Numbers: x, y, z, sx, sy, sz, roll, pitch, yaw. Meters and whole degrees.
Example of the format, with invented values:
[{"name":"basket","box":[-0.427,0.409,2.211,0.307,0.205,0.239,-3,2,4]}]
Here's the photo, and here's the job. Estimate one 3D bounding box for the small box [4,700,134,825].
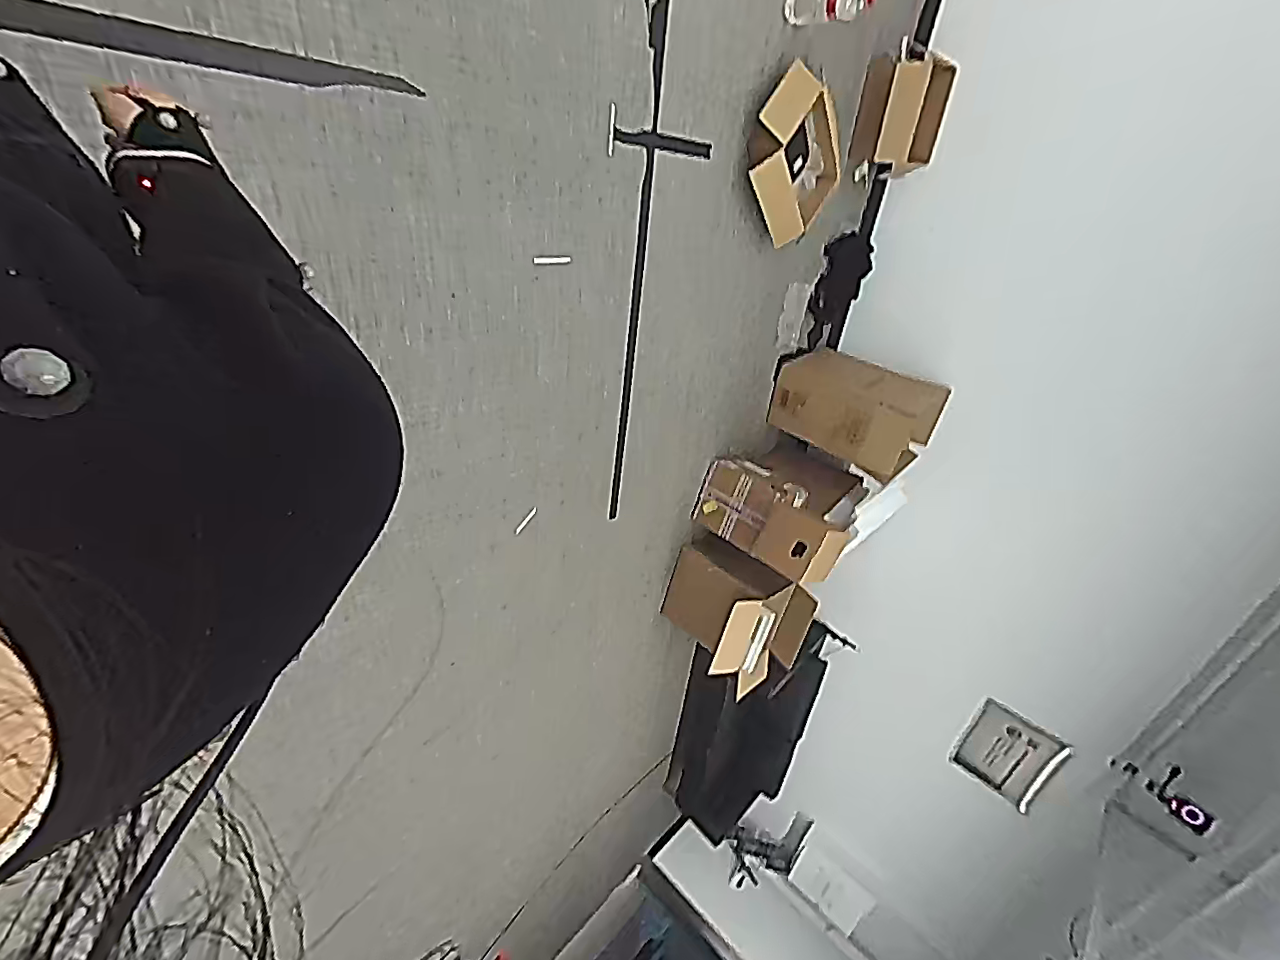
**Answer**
[{"name":"small box","box":[-1.348,0.652,1.277,0.168,0.176,0.179,-23,132,-40]}]
